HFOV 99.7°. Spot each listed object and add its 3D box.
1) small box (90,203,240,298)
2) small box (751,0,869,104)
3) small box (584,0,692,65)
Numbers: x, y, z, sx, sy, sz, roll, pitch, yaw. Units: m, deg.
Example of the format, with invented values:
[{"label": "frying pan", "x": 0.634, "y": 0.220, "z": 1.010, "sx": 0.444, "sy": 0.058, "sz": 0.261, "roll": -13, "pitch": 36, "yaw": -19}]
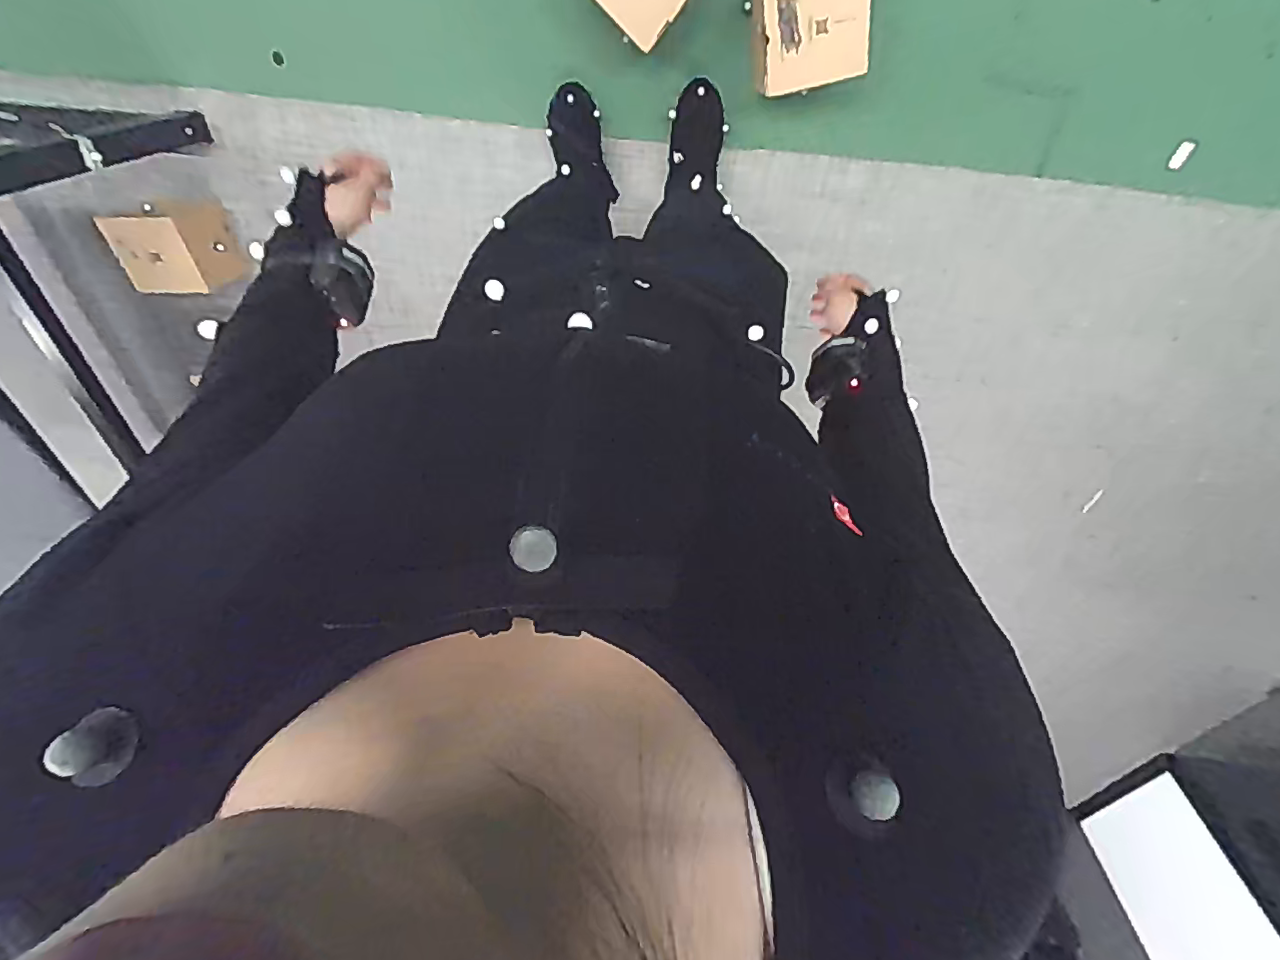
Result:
[{"label": "small box", "x": -1.082, "y": -0.537, "z": 1.257, "sx": 0.179, "sy": 0.176, "sz": 0.168, "roll": 1, "pitch": 130, "yaw": 2}, {"label": "small box", "x": 0.297, "y": -0.797, "z": 0.973, "sx": 0.179, "sy": 0.176, "sz": 0.168, "roll": -8, "pitch": 129, "yaw": 8}, {"label": "small box", "x": 0.000, "y": -0.866, "z": 0.930, "sx": 0.179, "sy": 0.176, "sz": 0.168, "roll": 34, "pitch": 123, "yaw": -22}]
